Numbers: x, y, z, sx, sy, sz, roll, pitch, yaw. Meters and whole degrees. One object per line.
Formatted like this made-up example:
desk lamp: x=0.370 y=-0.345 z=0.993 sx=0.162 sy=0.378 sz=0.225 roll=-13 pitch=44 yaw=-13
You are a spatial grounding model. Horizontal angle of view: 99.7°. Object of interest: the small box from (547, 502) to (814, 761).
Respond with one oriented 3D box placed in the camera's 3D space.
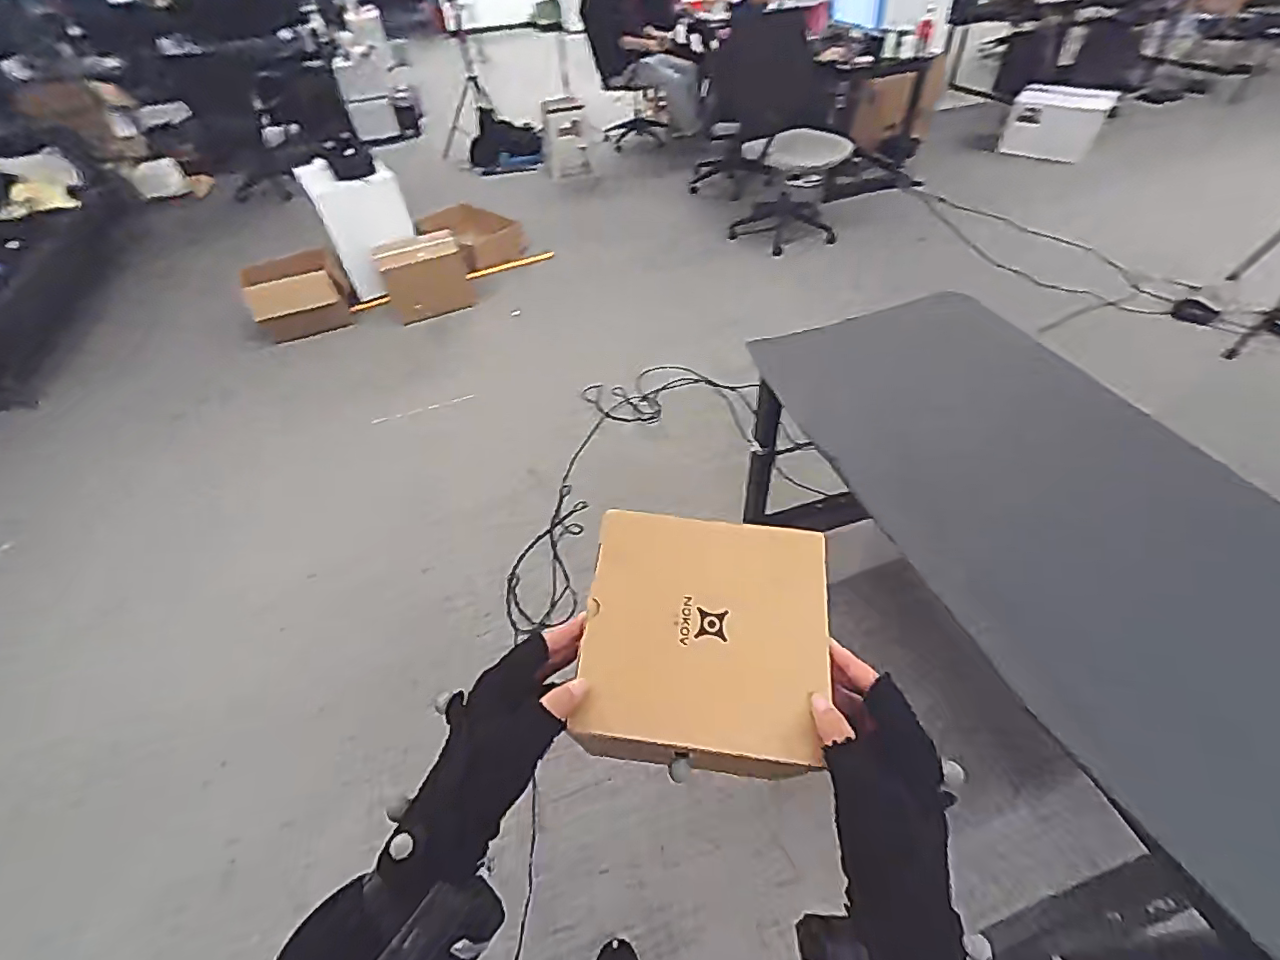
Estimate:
small box: x=0.035 y=0.135 z=0.456 sx=0.179 sy=0.176 sz=0.168 roll=4 pitch=59 yaw=4
